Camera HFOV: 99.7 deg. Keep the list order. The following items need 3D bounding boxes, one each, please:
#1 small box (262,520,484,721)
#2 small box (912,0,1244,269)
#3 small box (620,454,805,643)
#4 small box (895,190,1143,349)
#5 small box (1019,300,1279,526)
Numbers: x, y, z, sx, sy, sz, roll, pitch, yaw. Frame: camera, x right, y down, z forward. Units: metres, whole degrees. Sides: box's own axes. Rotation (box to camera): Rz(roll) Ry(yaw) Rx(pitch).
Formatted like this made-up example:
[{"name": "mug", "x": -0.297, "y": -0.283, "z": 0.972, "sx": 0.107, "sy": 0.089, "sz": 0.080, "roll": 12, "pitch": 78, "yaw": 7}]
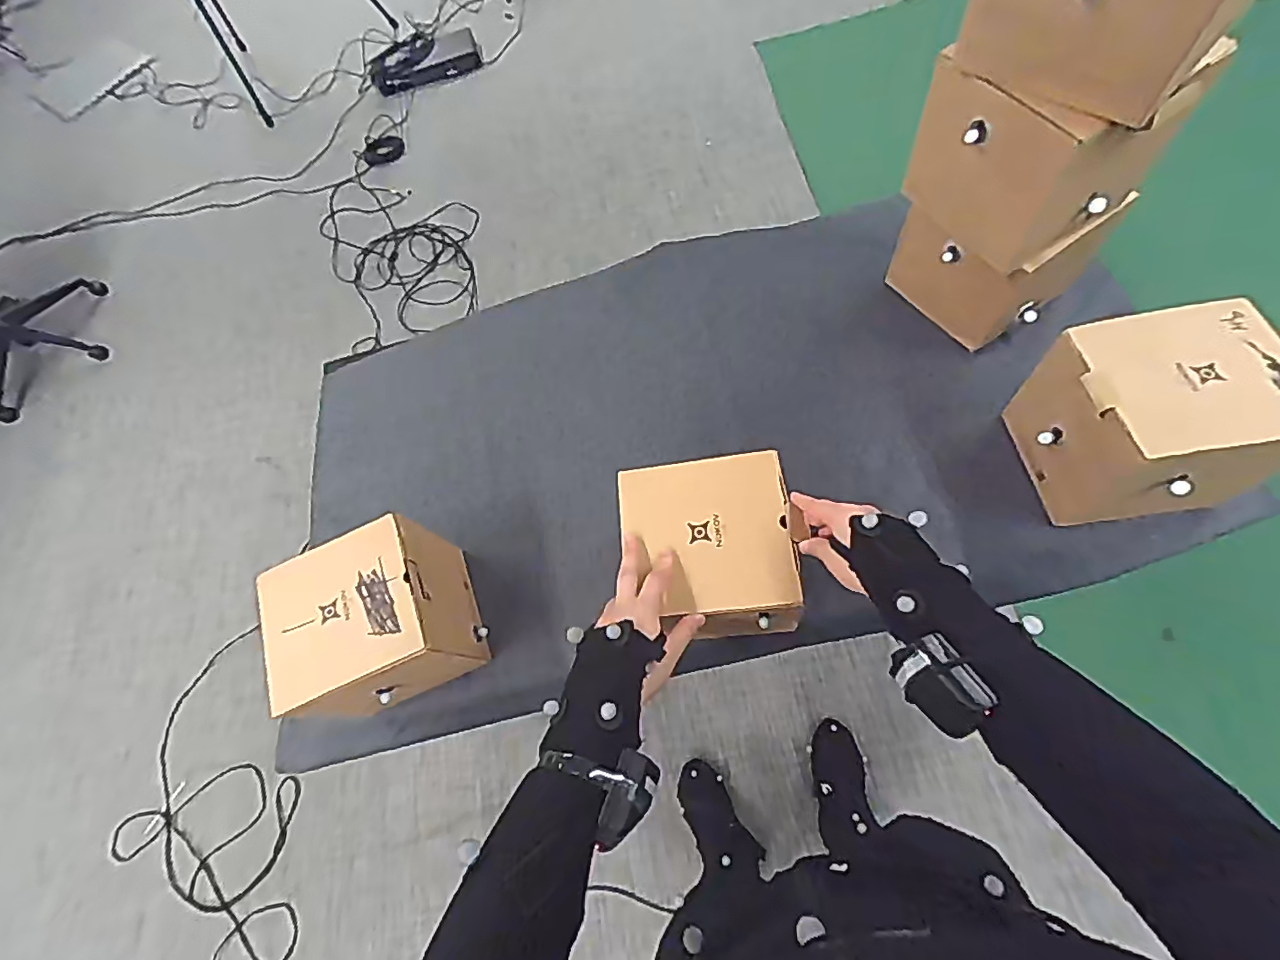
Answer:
[{"name": "small box", "x": -0.309, "y": 0.174, "z": 0.657, "sx": 0.179, "sy": 0.176, "sz": 0.168, "roll": -24, "pitch": 66, "yaw": 0}, {"name": "small box", "x": 0.422, "y": -0.363, "z": 0.566, "sx": 0.168, "sy": 0.176, "sz": 0.179, "roll": -32, "pitch": 66, "yaw": 0}, {"name": "small box", "x": 0.083, "y": 0.089, "z": 0.623, "sx": 0.179, "sy": 0.176, "sz": 0.168, "roll": -8, "pitch": 66, "yaw": 8}, {"name": "small box", "x": 0.473, "y": -0.309, "z": 0.714, "sx": 0.168, "sy": 0.176, "sz": 0.179, "roll": -35, "pitch": 68, "yaw": -2}, {"name": "small box", "x": 0.554, "y": -0.061, "z": 0.590, "sx": 0.179, "sy": 0.176, "sz": 0.168, "roll": -9, "pitch": 62, "yaw": 8}]
